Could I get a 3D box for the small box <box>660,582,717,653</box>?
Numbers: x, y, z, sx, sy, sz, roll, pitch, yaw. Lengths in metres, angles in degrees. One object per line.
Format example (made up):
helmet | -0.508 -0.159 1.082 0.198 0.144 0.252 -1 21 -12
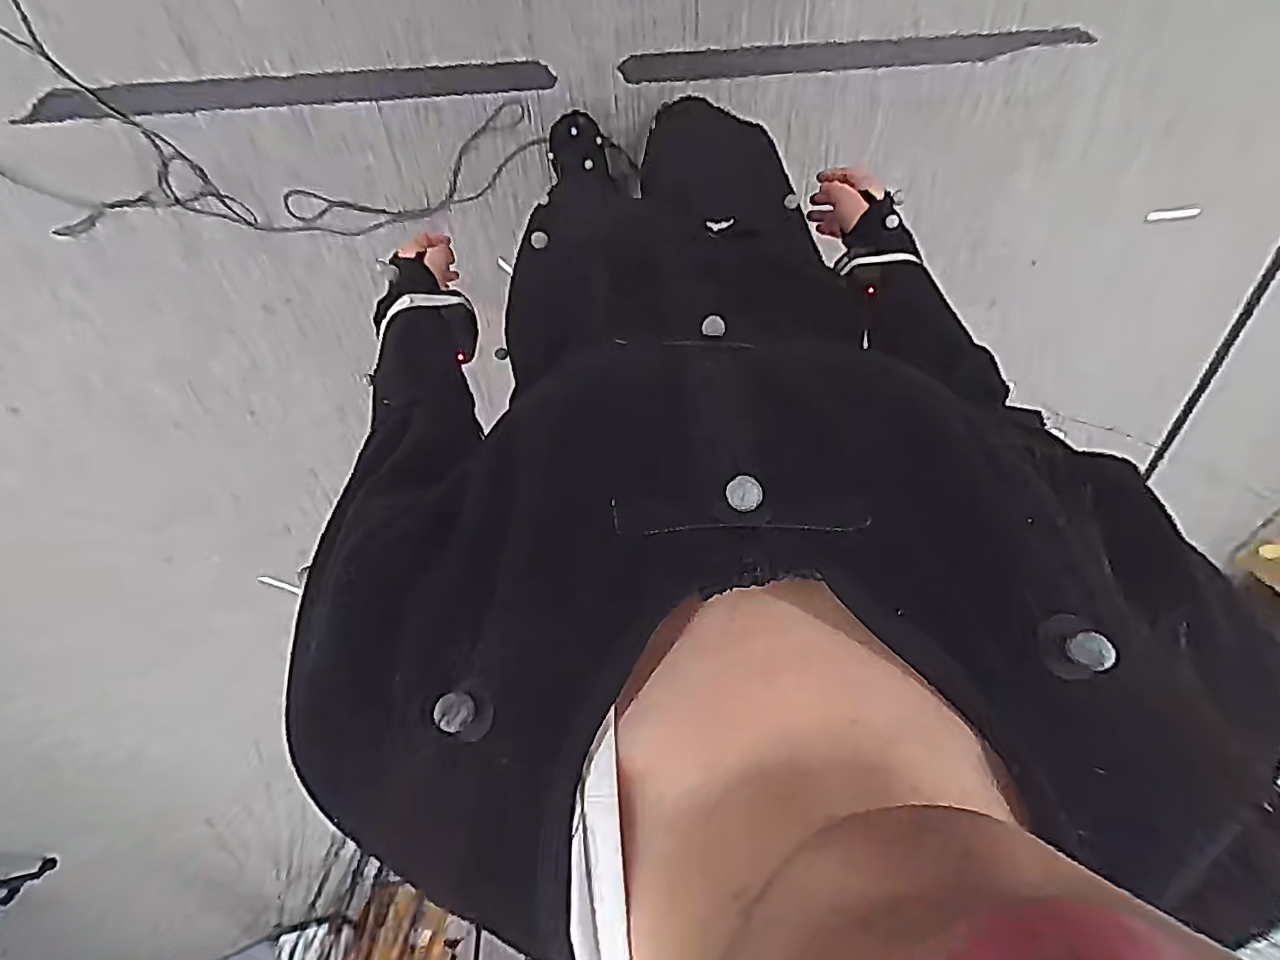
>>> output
small box | 0.181 0.511 2.024 0.168 0.176 0.179 -16 127 1
